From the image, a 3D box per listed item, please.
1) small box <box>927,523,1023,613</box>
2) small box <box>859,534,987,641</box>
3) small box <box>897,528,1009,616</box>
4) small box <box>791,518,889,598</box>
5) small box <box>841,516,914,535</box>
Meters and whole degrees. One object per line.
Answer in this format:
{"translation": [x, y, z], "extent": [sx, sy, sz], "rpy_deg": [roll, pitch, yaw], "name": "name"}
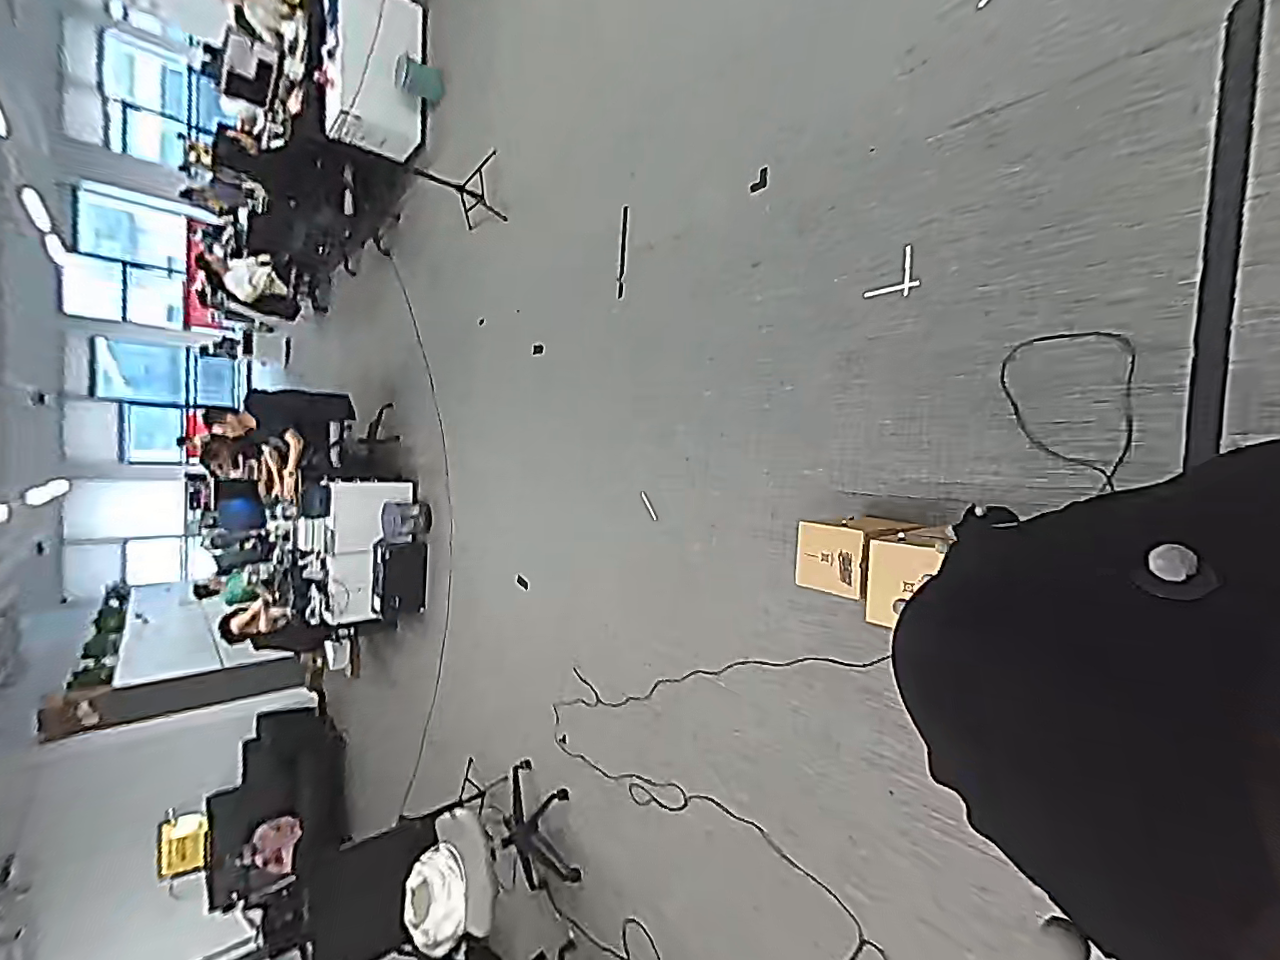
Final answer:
{"translation": [0.799, 0.203, 1.297], "extent": [0.168, 0.176, 0.179], "rpy_deg": [6, 93, 47], "name": "small box"}
{"translation": [0.560, 0.201, 1.071], "extent": [0.179, 0.176, 0.168], "rpy_deg": [6, 94, 46], "name": "small box"}
{"translation": [0.680, 0.197, 1.185], "extent": [0.179, 0.176, 0.168], "rpy_deg": [5, 94, 47], "name": "small box"}
{"translation": [0.509, 0.188, 1.372], "extent": [0.179, 0.176, 0.168], "rpy_deg": [7, 95, 49], "name": "small box"}
{"translation": [0.630, 0.192, 1.482], "extent": [0.179, 0.176, 0.168], "rpy_deg": [9, 96, 48], "name": "small box"}
